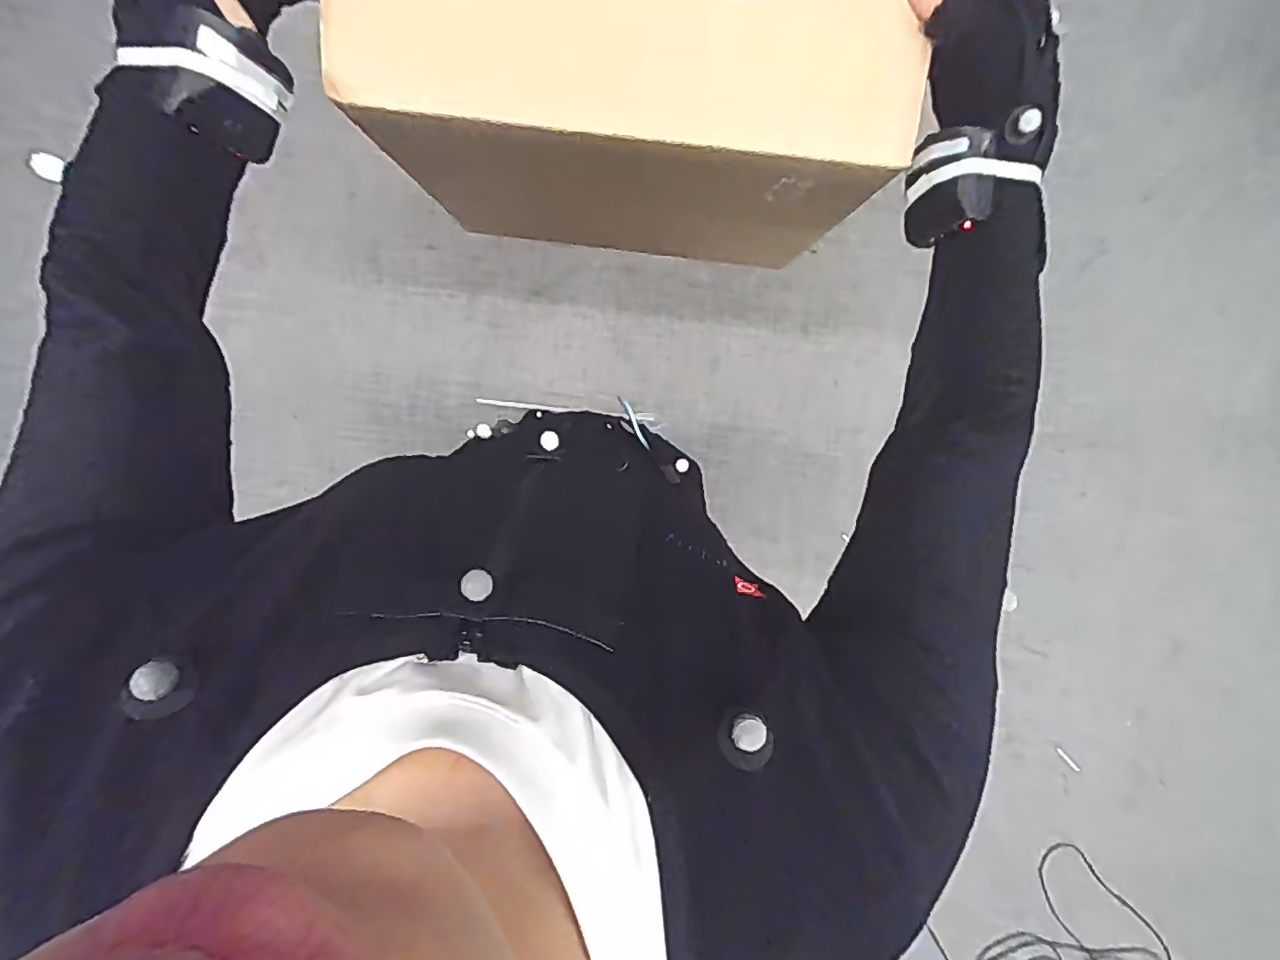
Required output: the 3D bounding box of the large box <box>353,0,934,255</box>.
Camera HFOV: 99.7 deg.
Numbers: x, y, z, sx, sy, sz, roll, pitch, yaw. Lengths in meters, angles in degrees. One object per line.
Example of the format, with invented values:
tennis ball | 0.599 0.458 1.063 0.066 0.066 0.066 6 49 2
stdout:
large box | 0.006 -0.423 0.505 0.408 0.320 0.320 5 100 -3
